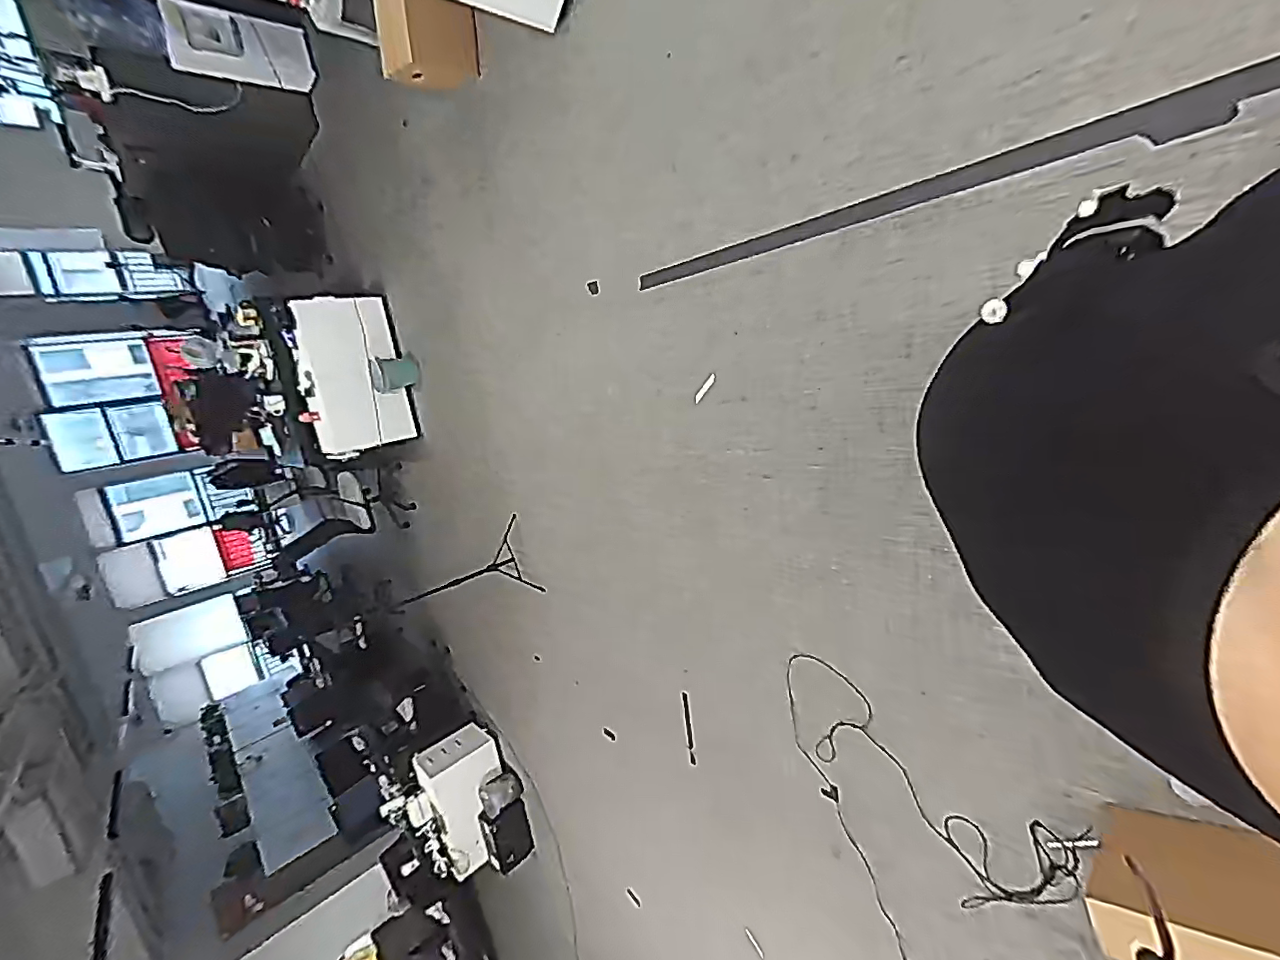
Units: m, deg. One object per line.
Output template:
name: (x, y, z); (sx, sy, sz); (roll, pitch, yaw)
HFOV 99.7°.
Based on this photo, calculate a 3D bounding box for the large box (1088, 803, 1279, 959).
large box: (1.241, 0.940, 1.105); (0.408, 0.320, 0.320); (-19, 91, 51)
